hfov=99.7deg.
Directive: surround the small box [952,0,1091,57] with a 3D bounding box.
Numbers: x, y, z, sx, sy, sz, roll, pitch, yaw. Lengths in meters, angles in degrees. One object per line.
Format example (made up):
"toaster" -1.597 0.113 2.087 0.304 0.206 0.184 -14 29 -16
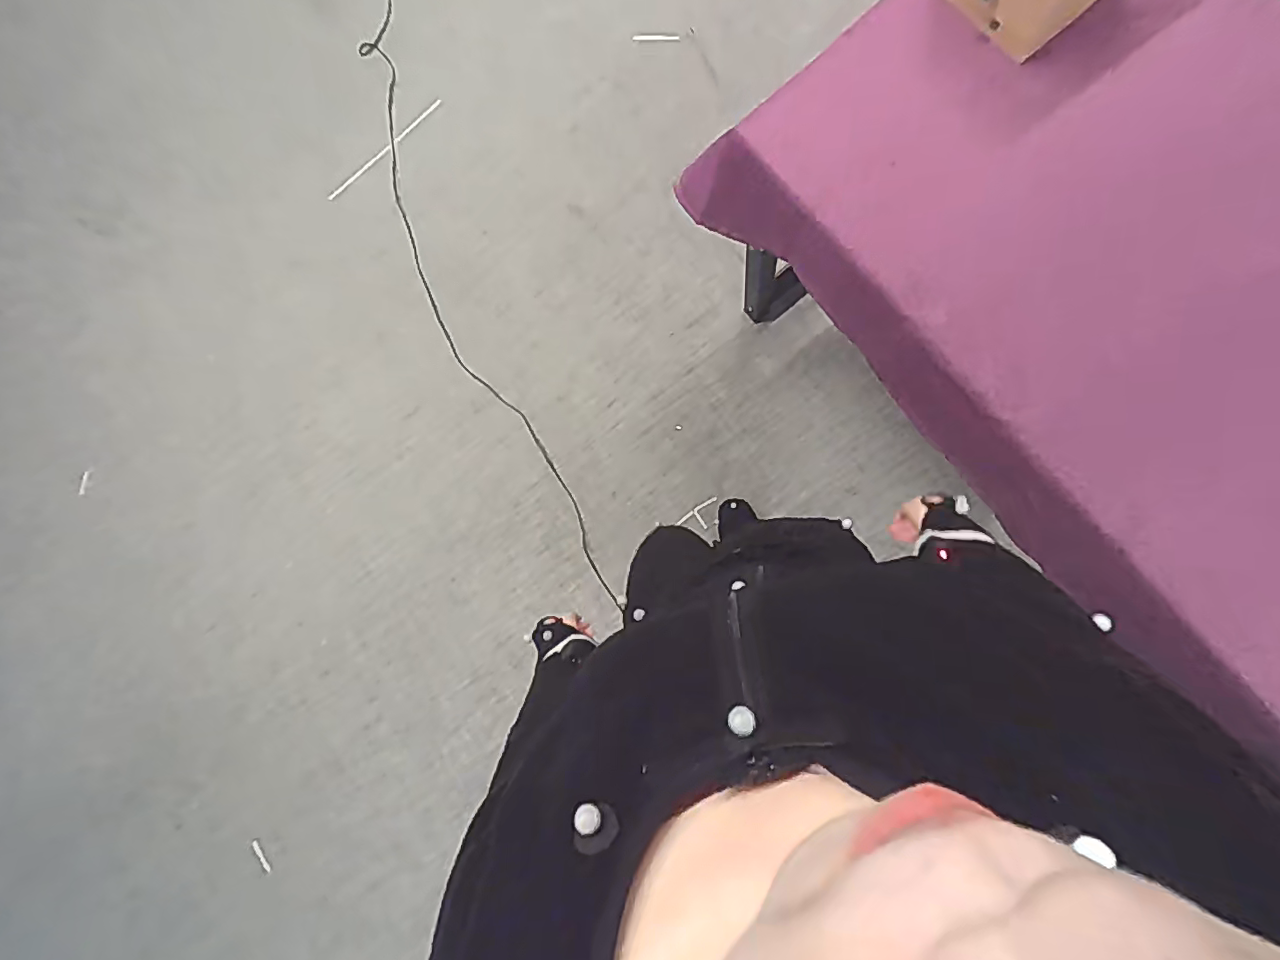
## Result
"small box" 0.518 -0.692 0.663 0.179 0.176 0.168 -38 81 6
